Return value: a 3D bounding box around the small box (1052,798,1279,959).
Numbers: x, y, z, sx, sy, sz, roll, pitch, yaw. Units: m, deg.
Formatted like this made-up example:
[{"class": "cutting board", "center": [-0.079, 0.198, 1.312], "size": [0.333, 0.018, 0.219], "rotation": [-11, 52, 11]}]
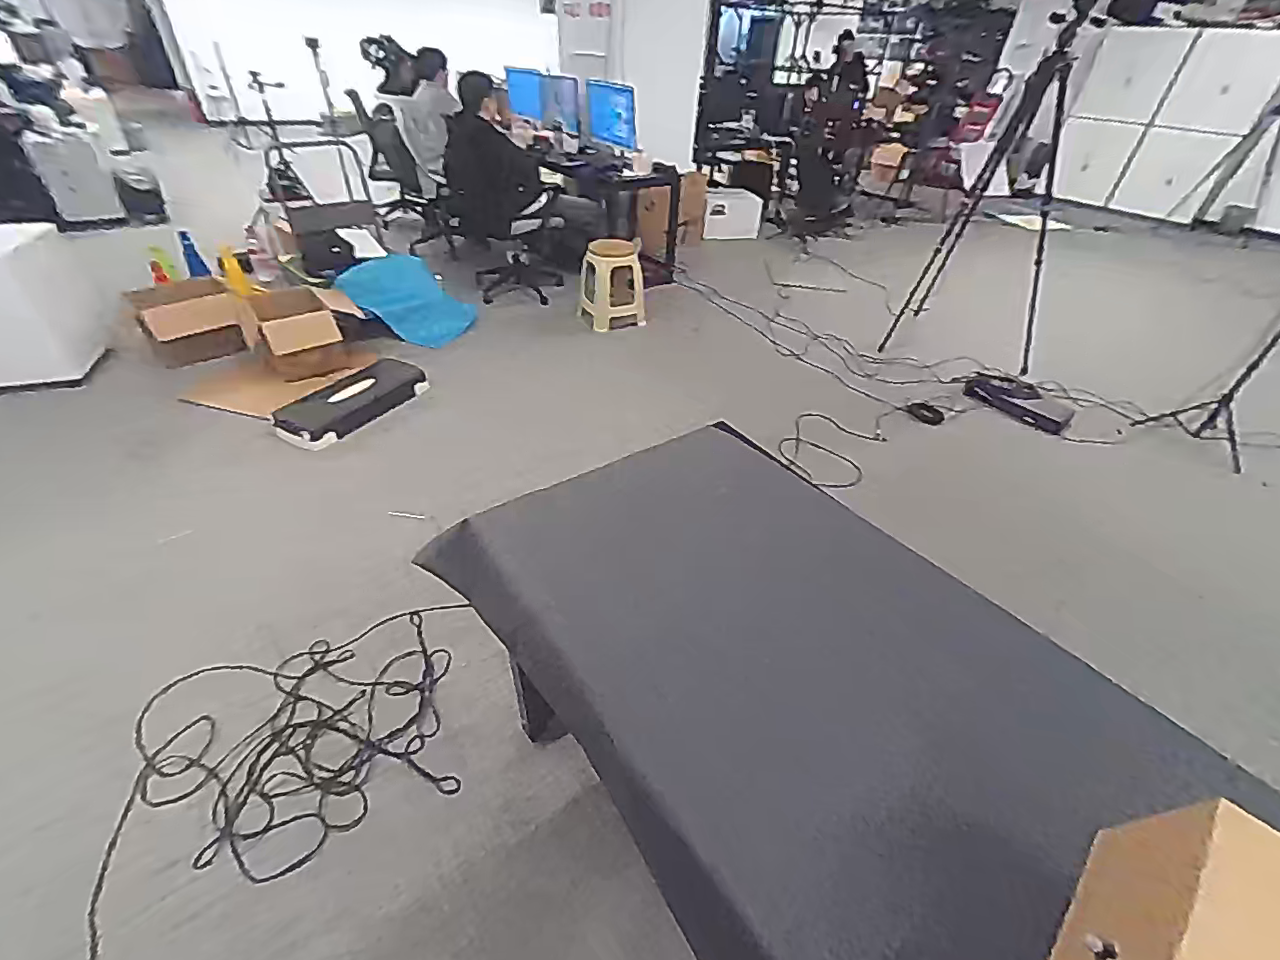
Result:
[{"class": "small box", "center": [0.446, 0.381, 0.395], "size": [0.168, 0.176, 0.179], "rotation": [35, 60, 28]}]
